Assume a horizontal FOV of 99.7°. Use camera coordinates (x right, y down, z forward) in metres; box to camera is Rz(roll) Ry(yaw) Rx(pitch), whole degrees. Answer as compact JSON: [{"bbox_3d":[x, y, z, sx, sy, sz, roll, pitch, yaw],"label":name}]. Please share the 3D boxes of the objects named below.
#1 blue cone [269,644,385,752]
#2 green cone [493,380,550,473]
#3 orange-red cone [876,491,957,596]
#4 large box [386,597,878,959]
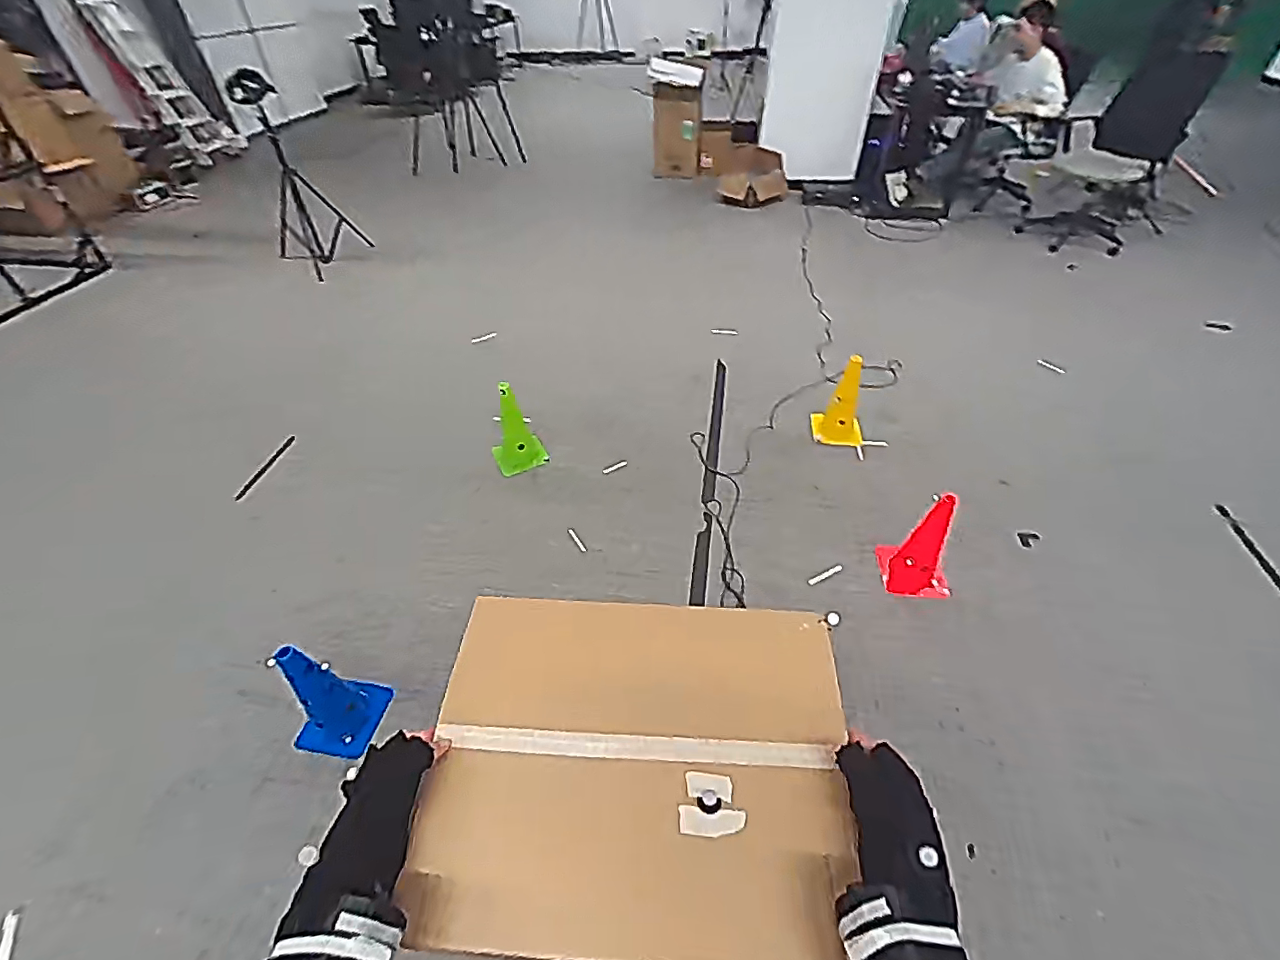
[{"bbox_3d":[-0.833,0.533,1.391,0.192,0.380,0.193,7,45,10],"label":"blue cone"},{"bbox_3d":[-0.509,-0.239,2.152,0.202,0.368,0.200,-23,47,-18],"label":"green cone"},{"bbox_3d":[0.895,0.172,1.680,0.198,0.360,0.199,4,43,5],"label":"orange-red cone"},{"bbox_3d":[-0.002,0.359,0.637,0.408,0.320,0.320,3,47,3],"label":"large box"}]
